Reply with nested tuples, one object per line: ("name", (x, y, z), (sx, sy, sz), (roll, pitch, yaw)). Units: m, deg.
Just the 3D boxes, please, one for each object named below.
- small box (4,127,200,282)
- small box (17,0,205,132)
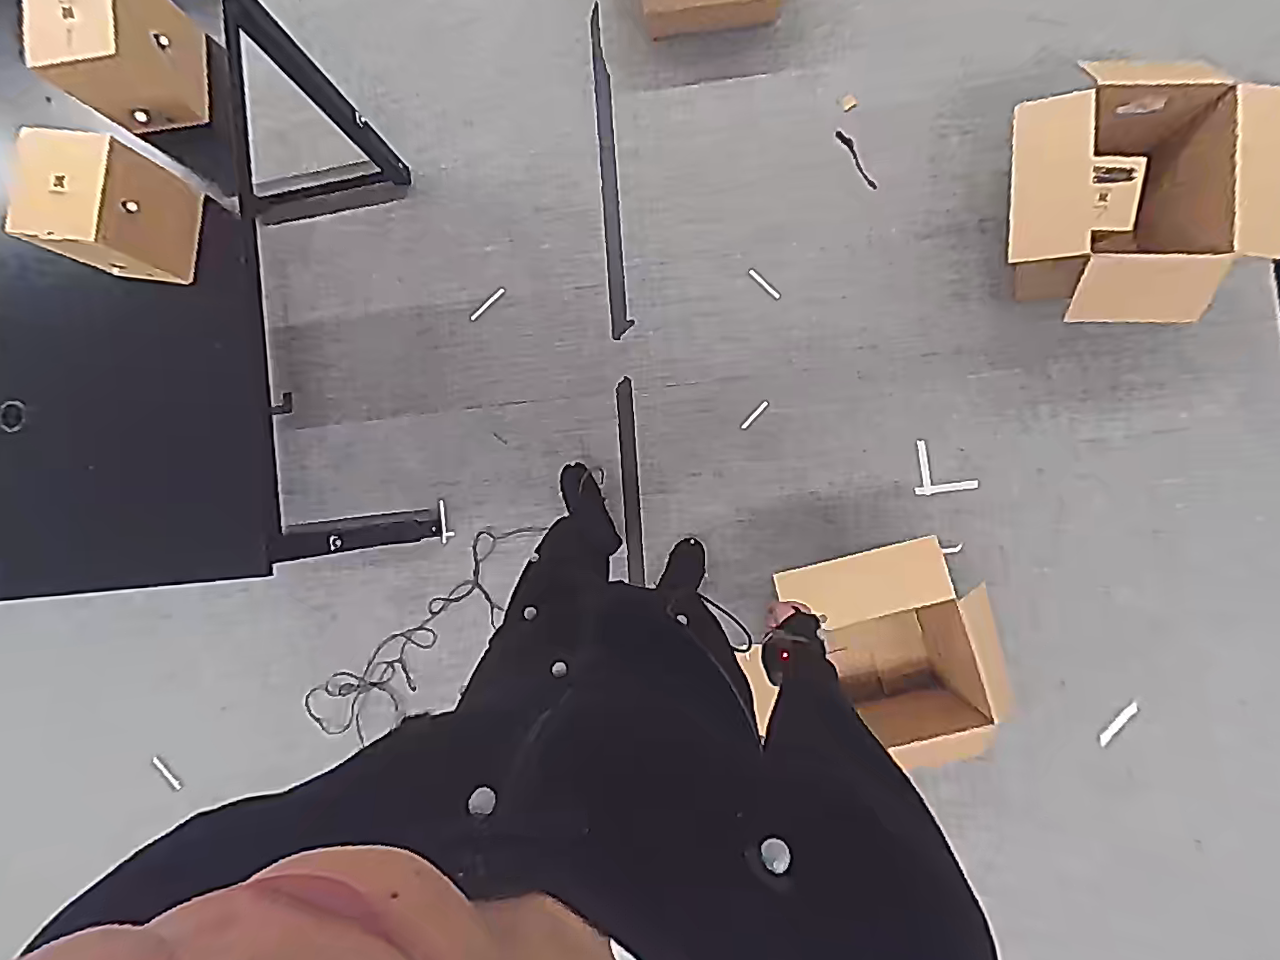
("small box", (-0.909, -0.464, 0.930), (0.168, 0.176, 0.179), (8, 90, 7))
("small box", (-0.898, -0.744, 0.931), (0.168, 0.176, 0.179), (-4, 90, 7))
